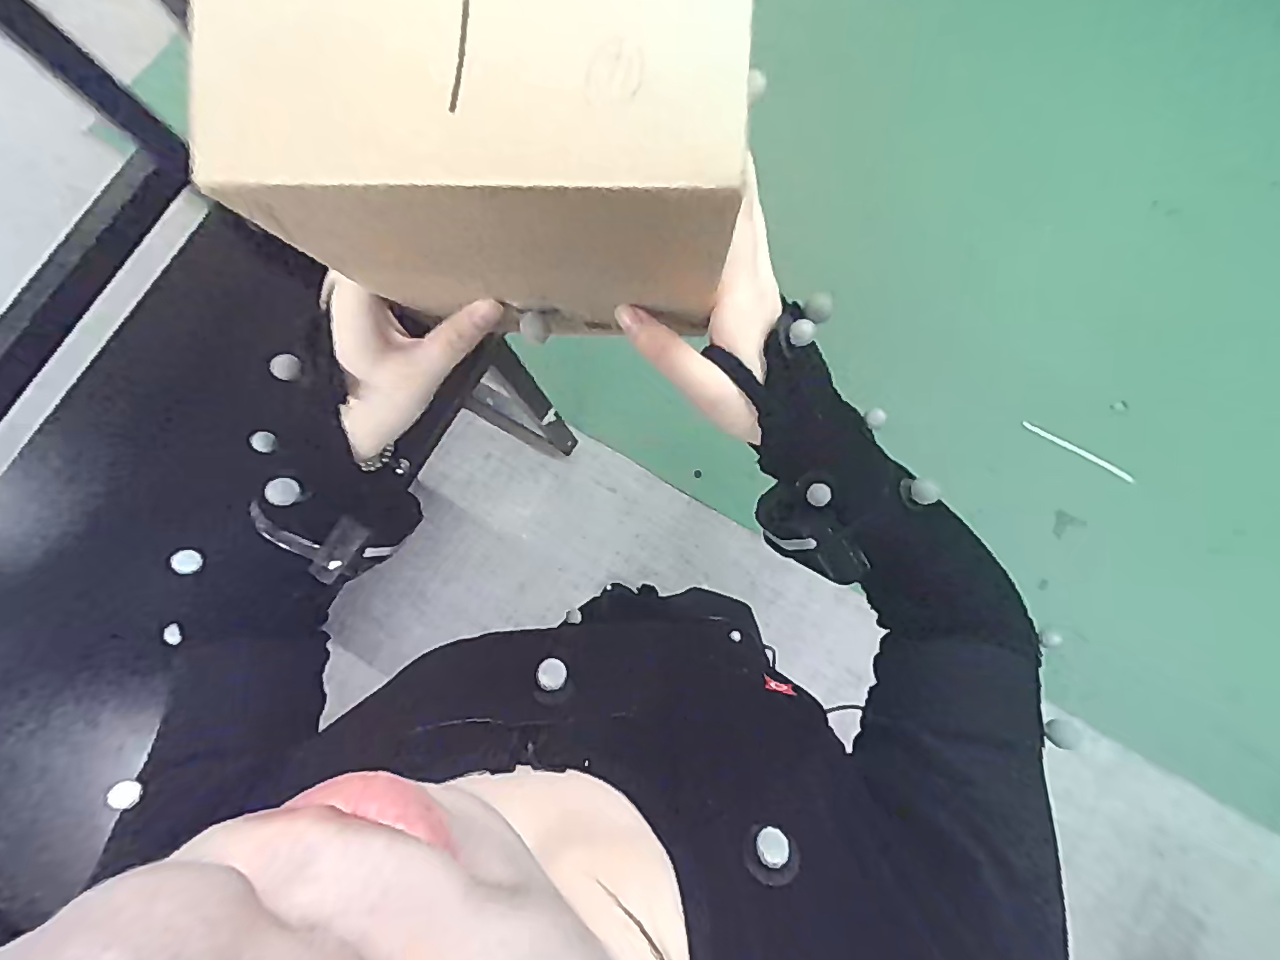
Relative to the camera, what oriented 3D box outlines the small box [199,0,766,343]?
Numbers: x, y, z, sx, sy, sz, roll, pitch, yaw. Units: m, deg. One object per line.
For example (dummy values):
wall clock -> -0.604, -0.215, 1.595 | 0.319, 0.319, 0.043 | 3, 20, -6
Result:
small box -> -0.039, -0.171, 0.236 | 0.168, 0.176, 0.179 | 4, 91, 4
